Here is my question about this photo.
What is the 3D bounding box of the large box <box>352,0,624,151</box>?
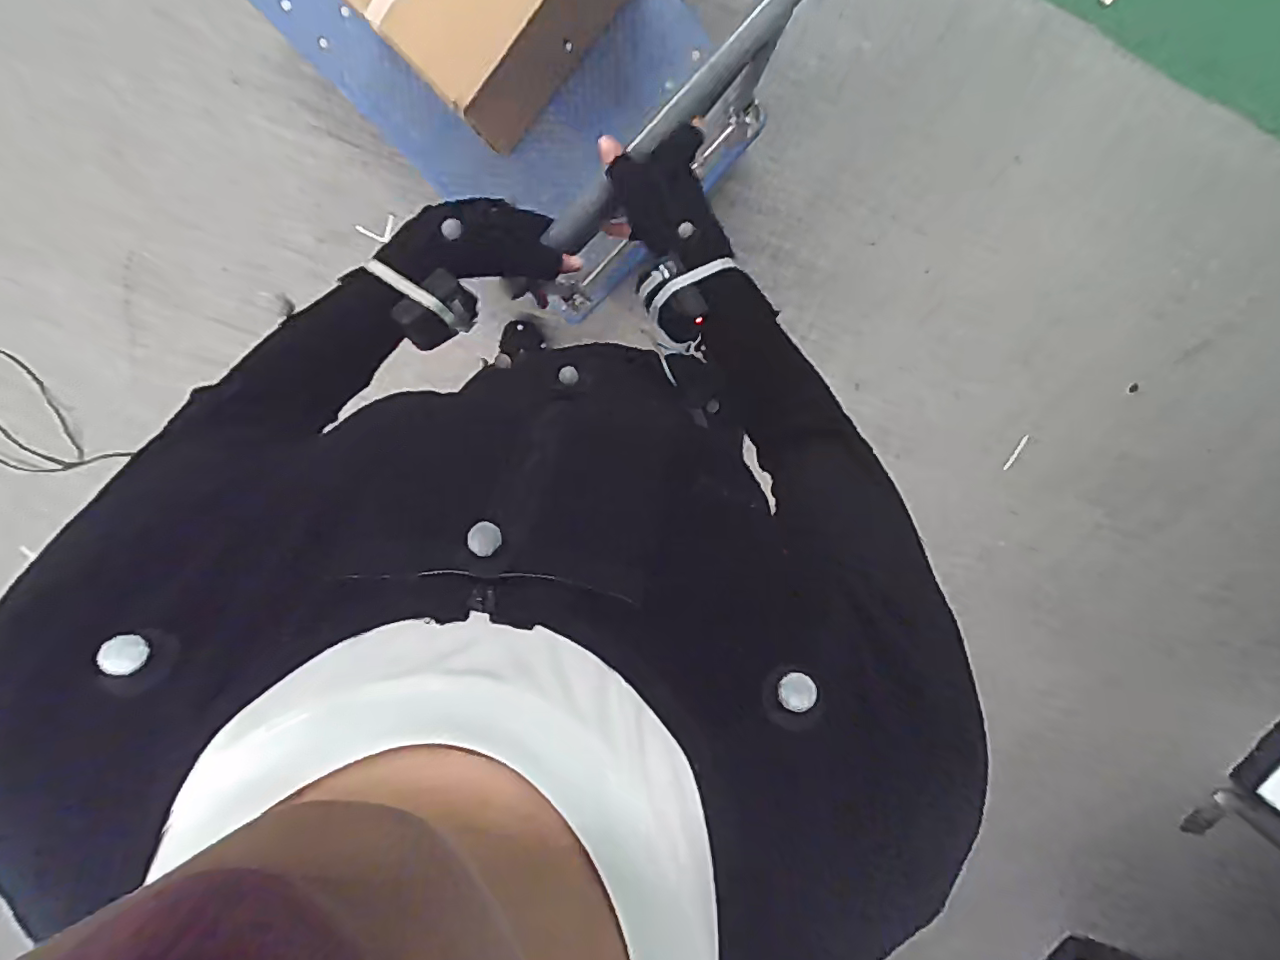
[{"bbox_3d":[-0.230,-0.840,0.870,0.320,0.320,0.408,41,106,-14],"label":"large box"}]
